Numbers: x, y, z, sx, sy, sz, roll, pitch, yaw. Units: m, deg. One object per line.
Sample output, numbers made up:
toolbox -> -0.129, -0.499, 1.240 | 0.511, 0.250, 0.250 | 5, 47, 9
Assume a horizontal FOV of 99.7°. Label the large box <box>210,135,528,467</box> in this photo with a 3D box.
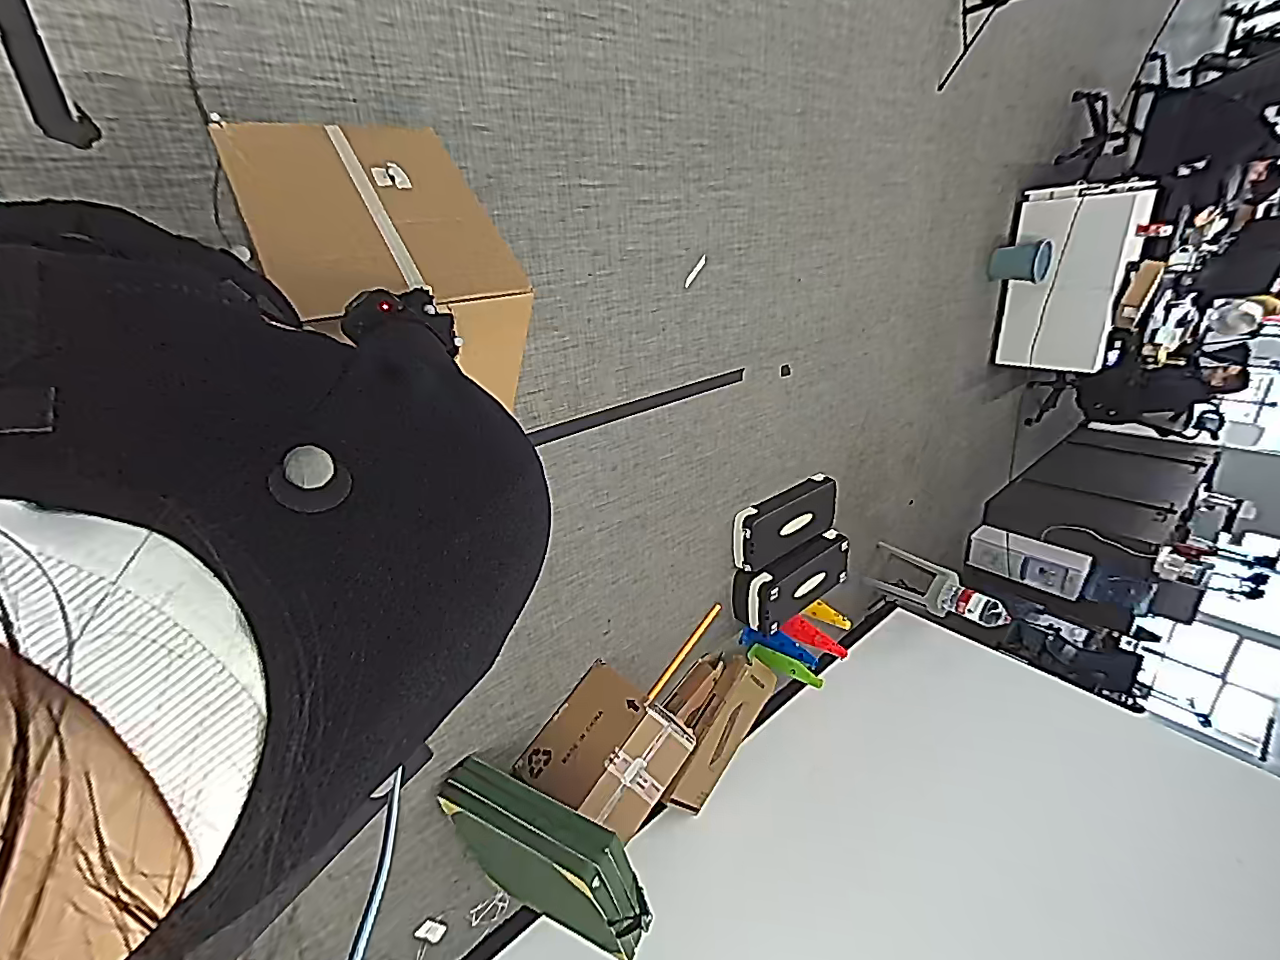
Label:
large box -> -0.428, -0.295, 0.895 | 0.320, 0.408, 0.320 | -20, 156, -32
